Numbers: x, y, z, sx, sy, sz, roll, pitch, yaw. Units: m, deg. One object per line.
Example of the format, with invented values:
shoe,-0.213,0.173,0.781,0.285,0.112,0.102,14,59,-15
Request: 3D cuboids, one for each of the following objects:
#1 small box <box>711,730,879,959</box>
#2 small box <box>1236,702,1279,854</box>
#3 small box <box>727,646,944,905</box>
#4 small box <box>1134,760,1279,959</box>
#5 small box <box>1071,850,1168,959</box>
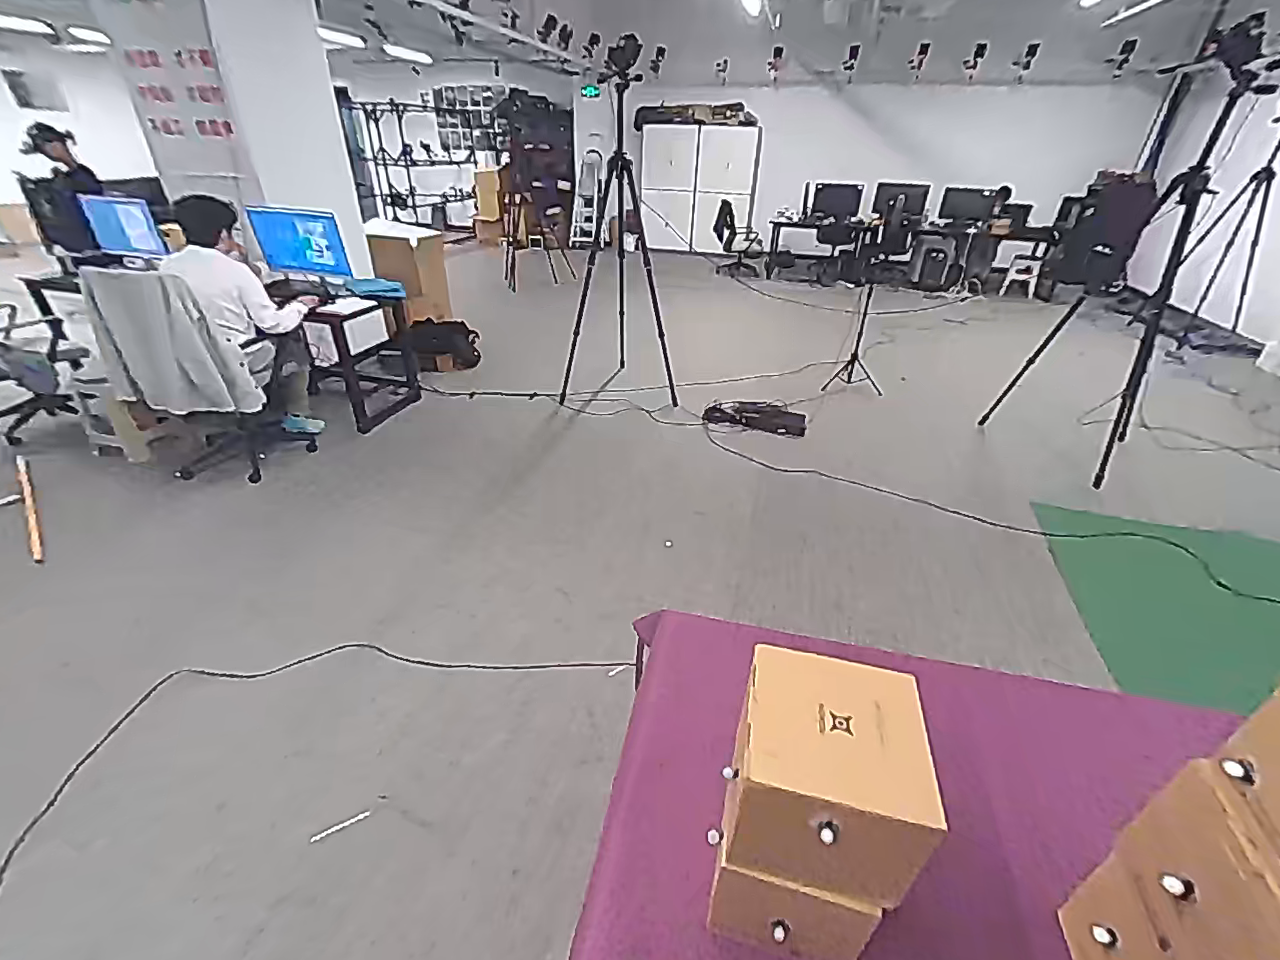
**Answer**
small box,0.185,0.451,0.668,0.168,0.176,0.179,10,33,13
small box,0.599,0.252,0.383,0.179,0.176,0.168,12,33,14
small box,0.194,0.312,0.582,0.179,0.176,0.168,9,34,12
small box,0.587,0.390,0.473,0.179,0.176,0.168,11,33,15
small box,0.590,0.532,0.557,0.179,0.176,0.168,9,32,12
